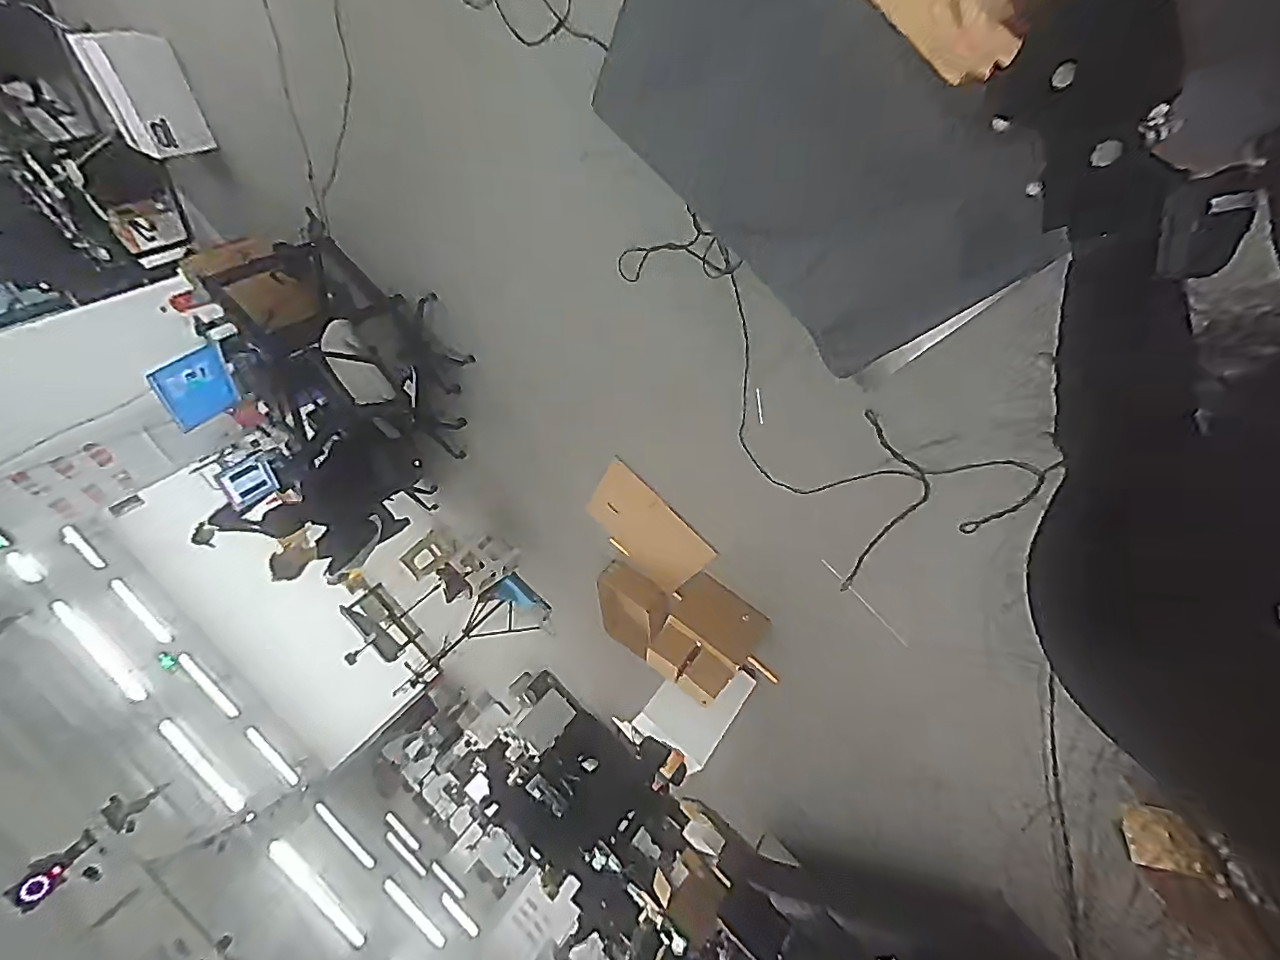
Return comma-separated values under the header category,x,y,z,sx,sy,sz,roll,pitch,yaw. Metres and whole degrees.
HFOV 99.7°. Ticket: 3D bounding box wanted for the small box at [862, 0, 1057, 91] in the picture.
category,x,y,z,sx,sy,sz,roll,pitch,yaw
small box,0.274,-0.452,0.415,0.179,0.176,0.168,49,146,1
